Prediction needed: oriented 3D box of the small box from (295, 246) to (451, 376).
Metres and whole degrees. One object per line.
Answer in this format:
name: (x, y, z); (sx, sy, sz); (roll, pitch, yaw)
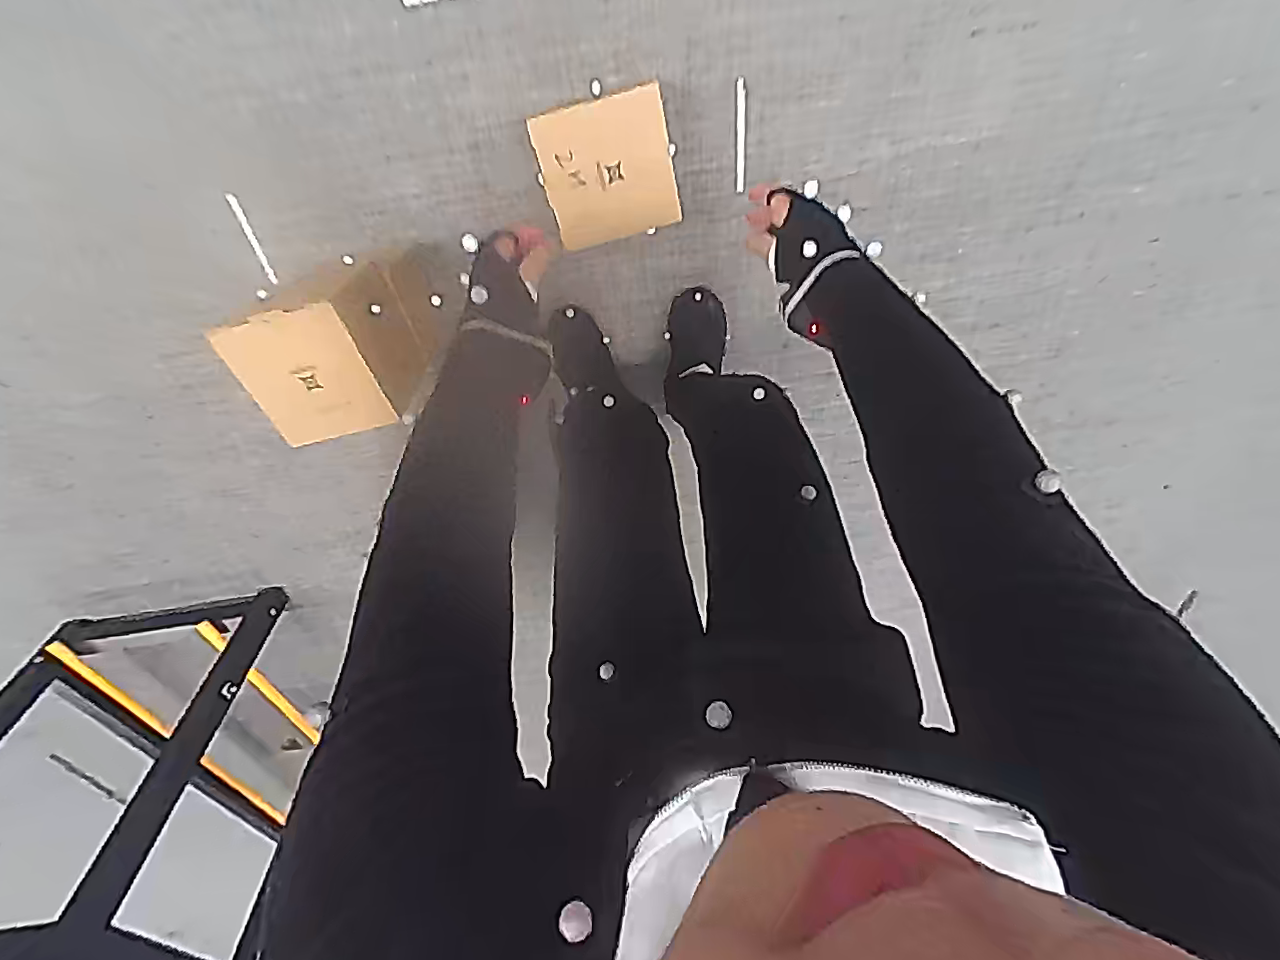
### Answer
small box: (-0.437, -0.268, 0.892); (0.179, 0.176, 0.168); (-11, 128, 2)

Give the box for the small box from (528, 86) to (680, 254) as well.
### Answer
small box: (-0.051, -0.457, 0.790); (0.179, 0.176, 0.168); (-13, 127, 4)

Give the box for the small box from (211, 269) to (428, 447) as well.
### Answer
small box: (-0.426, -0.178, 0.756); (0.168, 0.176, 0.179); (-13, 129, 6)
